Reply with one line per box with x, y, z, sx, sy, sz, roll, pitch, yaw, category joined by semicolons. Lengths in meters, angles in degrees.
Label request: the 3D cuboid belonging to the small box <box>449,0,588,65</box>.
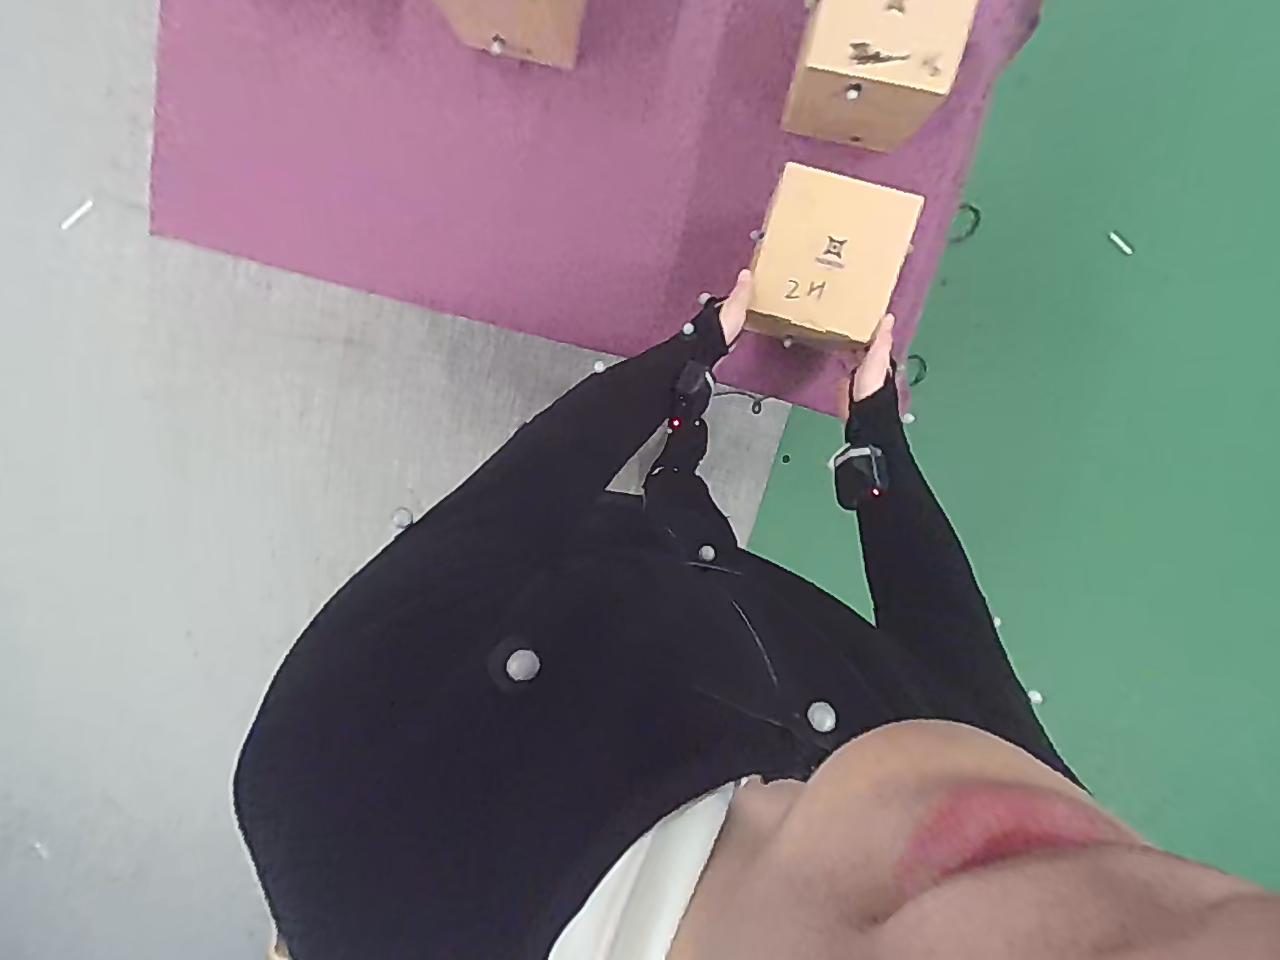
-0.158;-0.682;0.685;0.168;0.176;0.179;16;102;2;small box

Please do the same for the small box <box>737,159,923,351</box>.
0.235;-0.283;0.721;0.168;0.176;0.179;17;100;3;small box

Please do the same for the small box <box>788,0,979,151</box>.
0.295;-0.549;0.670;0.168;0.176;0.179;14;101;3;small box
